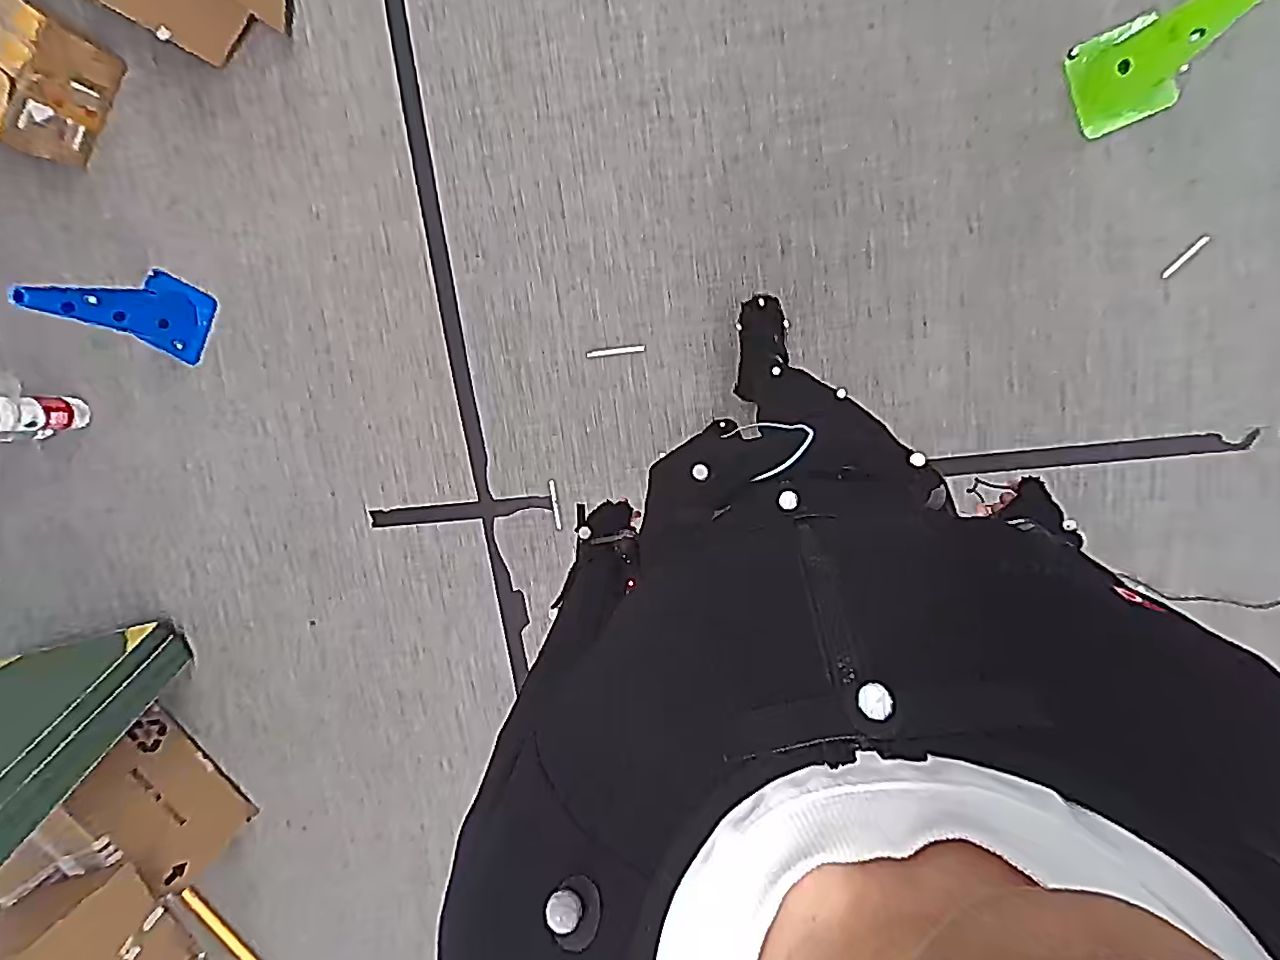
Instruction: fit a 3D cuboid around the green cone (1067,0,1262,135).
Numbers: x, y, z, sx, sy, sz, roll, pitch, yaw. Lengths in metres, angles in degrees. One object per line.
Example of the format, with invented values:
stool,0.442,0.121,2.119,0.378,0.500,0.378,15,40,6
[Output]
green cone,1.059,-0.867,1.030,0.202,0.368,0.200,-22,98,7
